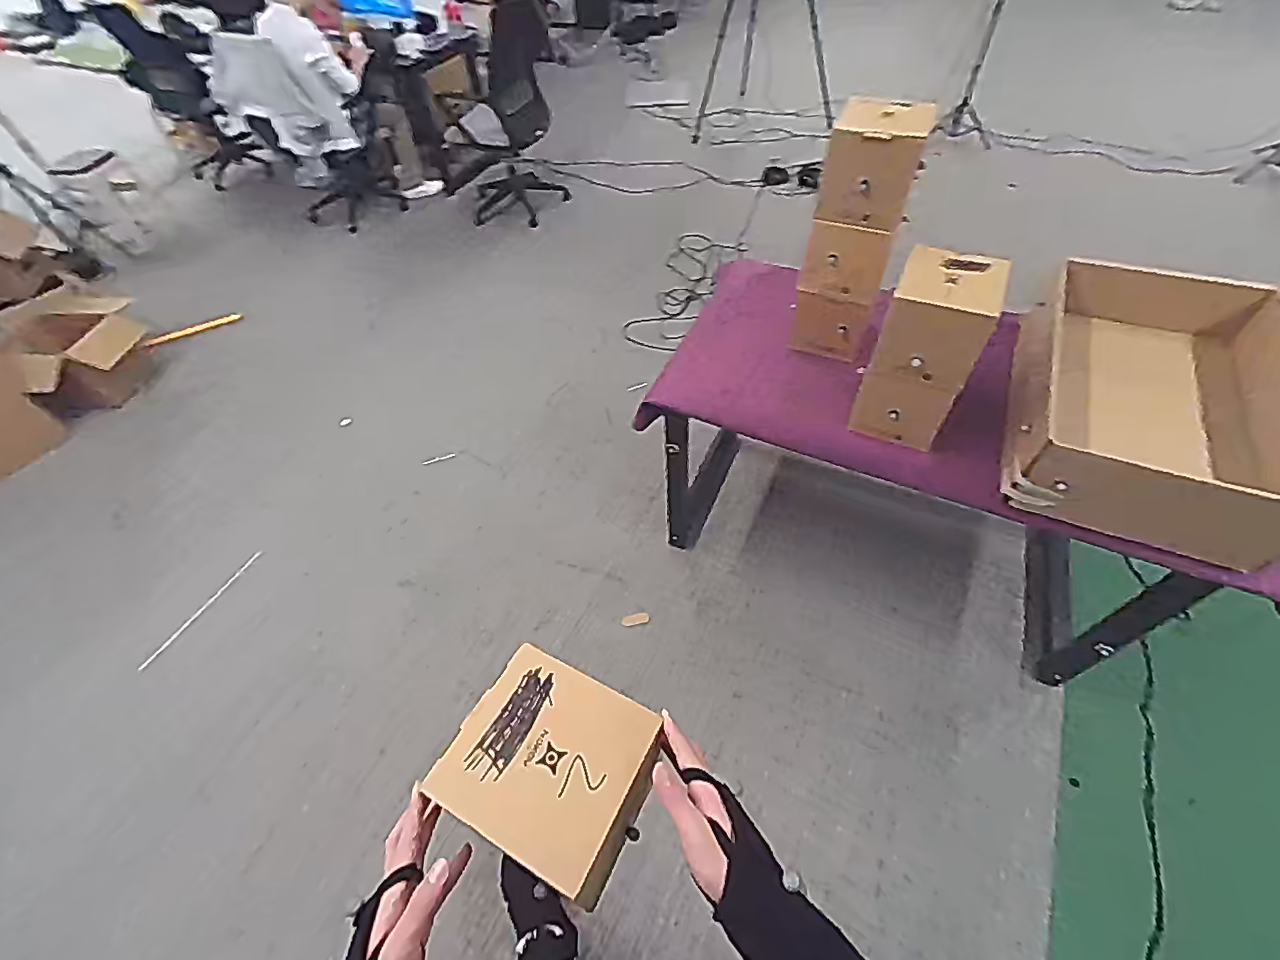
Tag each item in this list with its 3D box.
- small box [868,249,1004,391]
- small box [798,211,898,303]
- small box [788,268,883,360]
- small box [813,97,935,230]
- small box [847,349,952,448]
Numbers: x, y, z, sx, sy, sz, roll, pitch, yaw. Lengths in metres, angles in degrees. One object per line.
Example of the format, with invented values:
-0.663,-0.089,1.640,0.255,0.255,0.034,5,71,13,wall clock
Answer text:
0.543,-0.297,1.005,0.168,0.176,0.179,20,56,19,small box
0.458,-0.516,1.191,0.168,0.176,0.179,19,56,18,small box
0.470,-0.420,1.320,0.168,0.176,0.179,20,56,18,small box
0.452,-0.620,1.063,0.168,0.176,0.179,19,56,17,small box
0.550,-0.196,1.134,0.168,0.176,0.179,21,56,18,small box
